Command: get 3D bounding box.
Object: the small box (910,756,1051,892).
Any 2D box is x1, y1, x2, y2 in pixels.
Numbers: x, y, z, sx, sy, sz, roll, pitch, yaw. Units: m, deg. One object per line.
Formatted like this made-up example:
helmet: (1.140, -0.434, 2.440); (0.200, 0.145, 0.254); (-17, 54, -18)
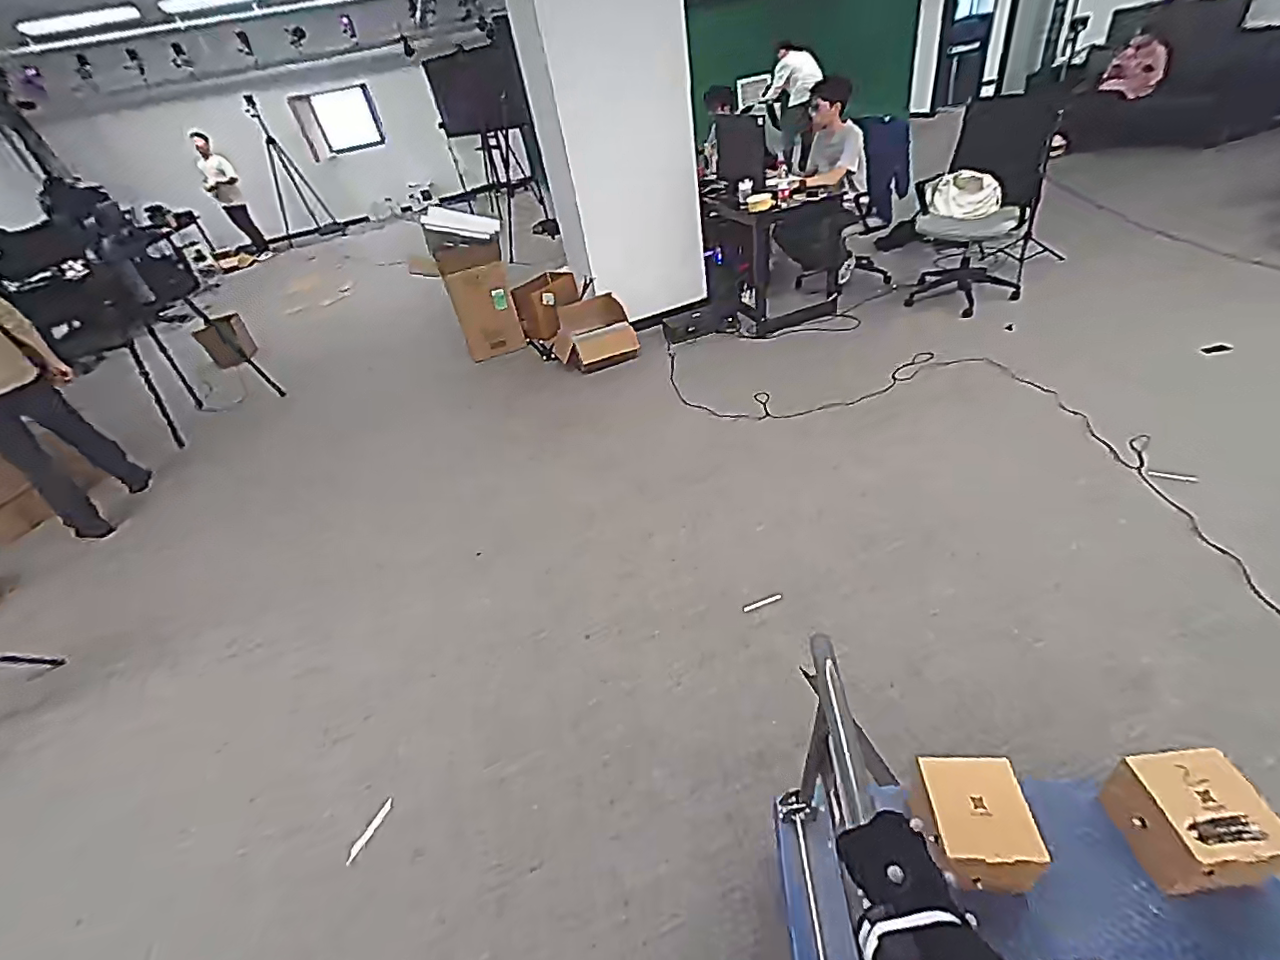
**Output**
small box: (0.638, 0.661, 1.043); (0.168, 0.176, 0.179); (-4, 40, 10)
